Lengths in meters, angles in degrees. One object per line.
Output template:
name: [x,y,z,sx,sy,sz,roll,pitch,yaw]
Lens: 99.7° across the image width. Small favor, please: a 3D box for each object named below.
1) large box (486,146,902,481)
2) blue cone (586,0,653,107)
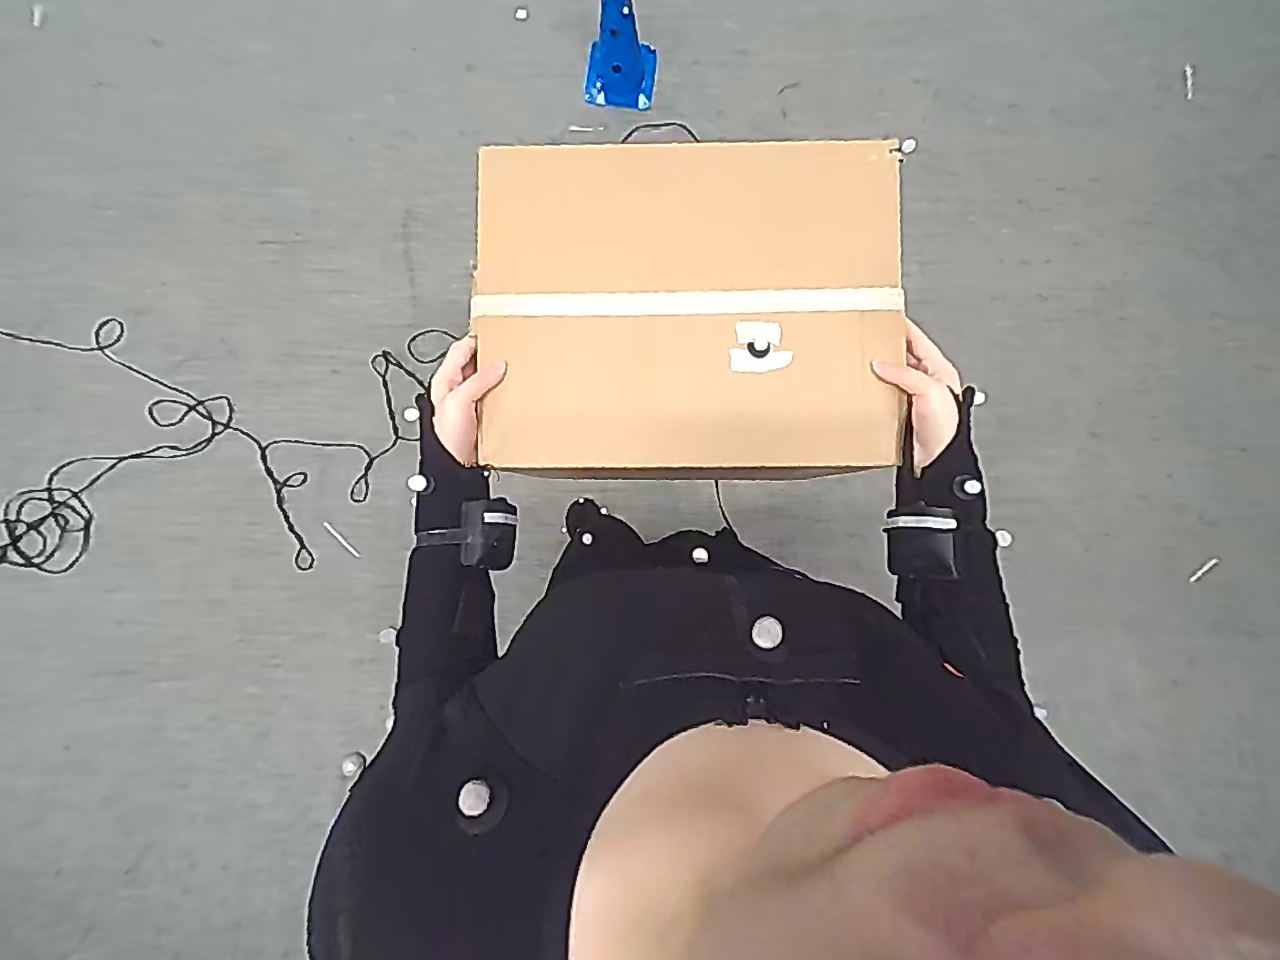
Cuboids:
large box: [0.048,-0.164,0.671,0.408,0.320,0.320,0,88,0]
blue cone: [-0.064,-1.221,1.450,0.193,0.380,0.192,9,85,1]
